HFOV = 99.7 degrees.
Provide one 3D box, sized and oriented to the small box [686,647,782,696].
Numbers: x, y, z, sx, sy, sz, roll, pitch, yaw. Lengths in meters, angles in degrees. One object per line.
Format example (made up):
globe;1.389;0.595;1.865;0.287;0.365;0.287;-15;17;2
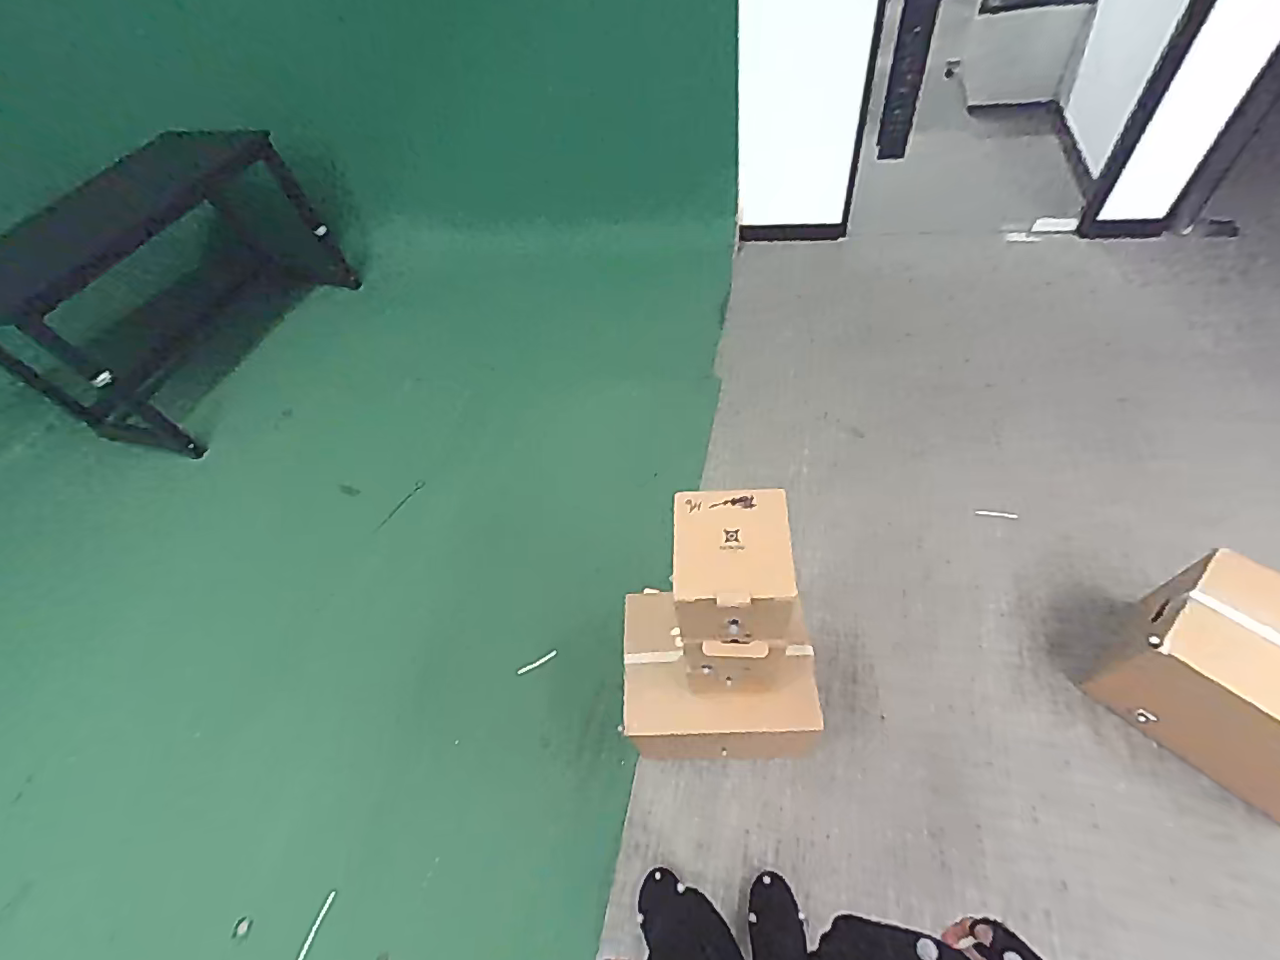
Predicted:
small box;0.187;0.330;1.086;0.179;0.176;0.168;-2;55;9

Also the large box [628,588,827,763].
large box;0.197;0.476;1.285;0.408;0.320;0.320;-6;52;8

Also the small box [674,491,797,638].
small box;0.144;0.134;0.826;0.168;0.176;0.179;-2;56;9

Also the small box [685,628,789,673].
small box;0.173;0.231;0.956;0.168;0.176;0.179;-1;55;10
